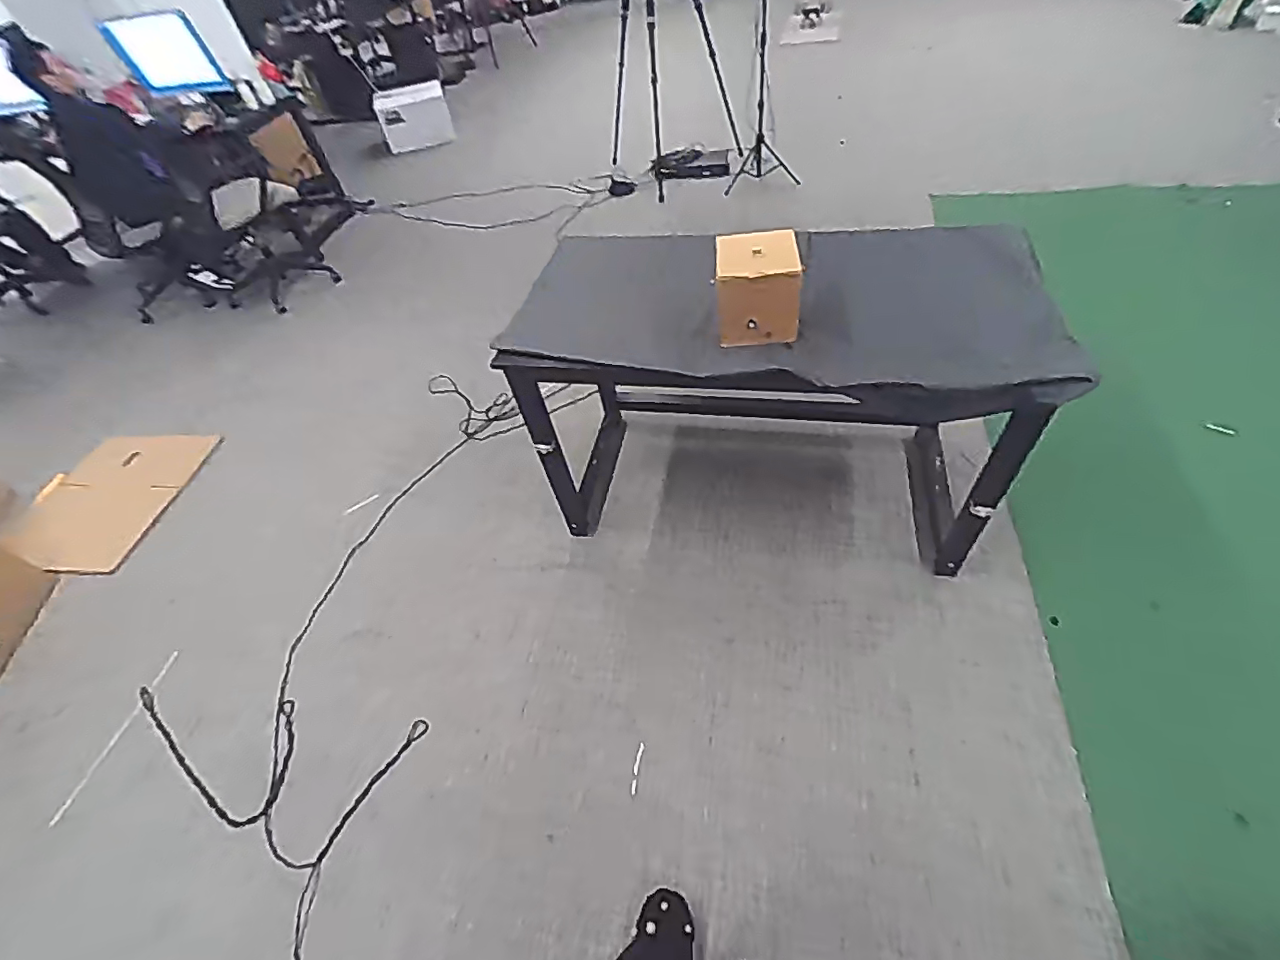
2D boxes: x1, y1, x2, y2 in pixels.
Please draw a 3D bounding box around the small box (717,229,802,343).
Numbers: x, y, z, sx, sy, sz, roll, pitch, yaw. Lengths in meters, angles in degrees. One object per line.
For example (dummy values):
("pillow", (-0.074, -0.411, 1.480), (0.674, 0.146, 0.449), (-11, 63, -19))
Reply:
("small box", (0.251, -0.418, 1.175), (0.168, 0.176, 0.179), (-2, 51, 8))
